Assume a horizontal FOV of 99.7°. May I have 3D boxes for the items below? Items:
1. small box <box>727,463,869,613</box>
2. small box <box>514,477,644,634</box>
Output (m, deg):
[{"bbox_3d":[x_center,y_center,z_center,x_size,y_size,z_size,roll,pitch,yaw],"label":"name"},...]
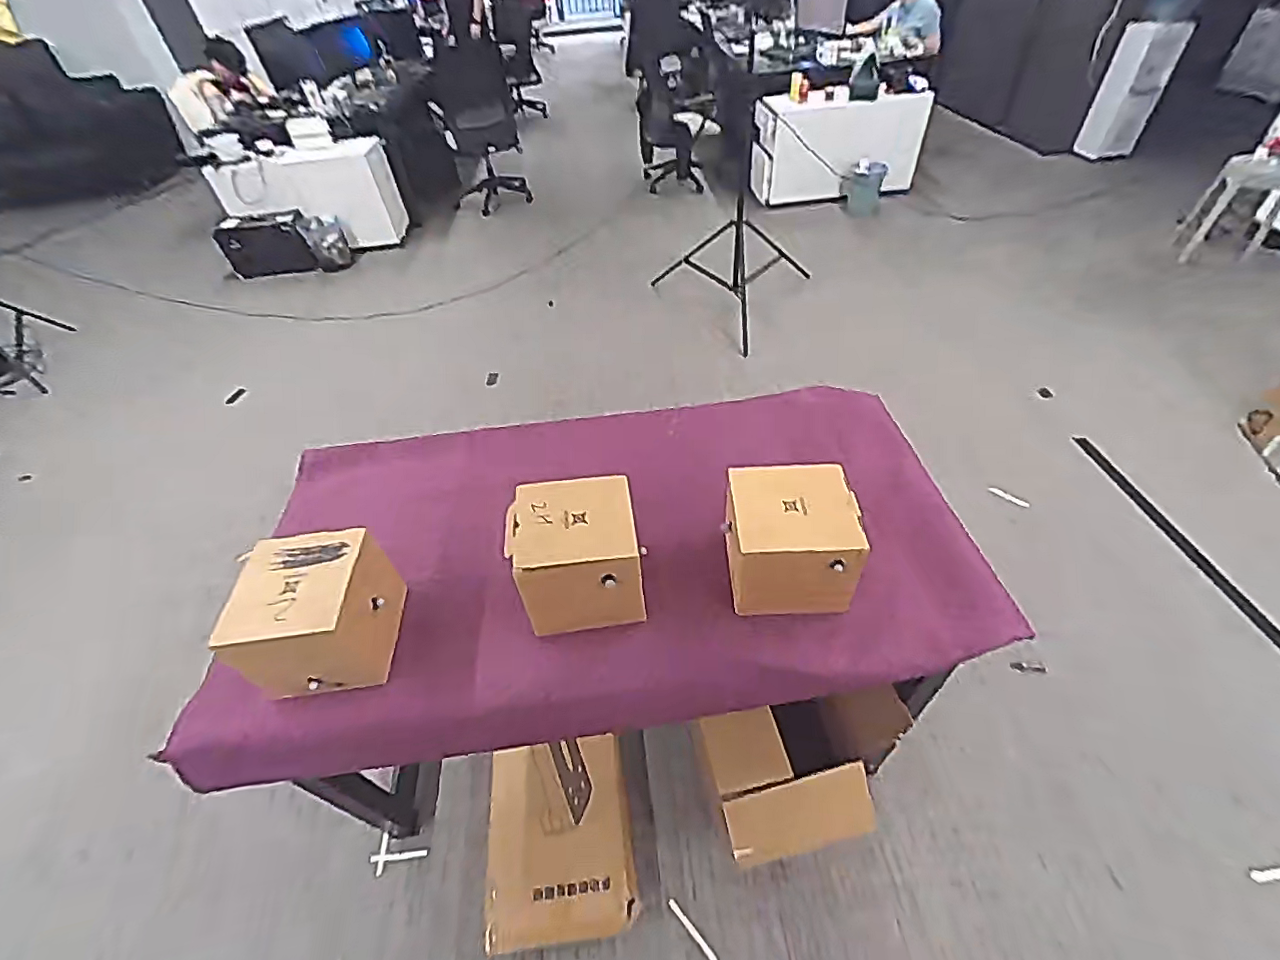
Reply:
[{"bbox_3d":[0.229,0.093,0.840,0.179,0.176,0.168,-3,46,3],"label":"small box"},{"bbox_3d":[-0.089,0.120,0.845,0.179,0.176,0.168,-8,43,-2],"label":"small box"}]
